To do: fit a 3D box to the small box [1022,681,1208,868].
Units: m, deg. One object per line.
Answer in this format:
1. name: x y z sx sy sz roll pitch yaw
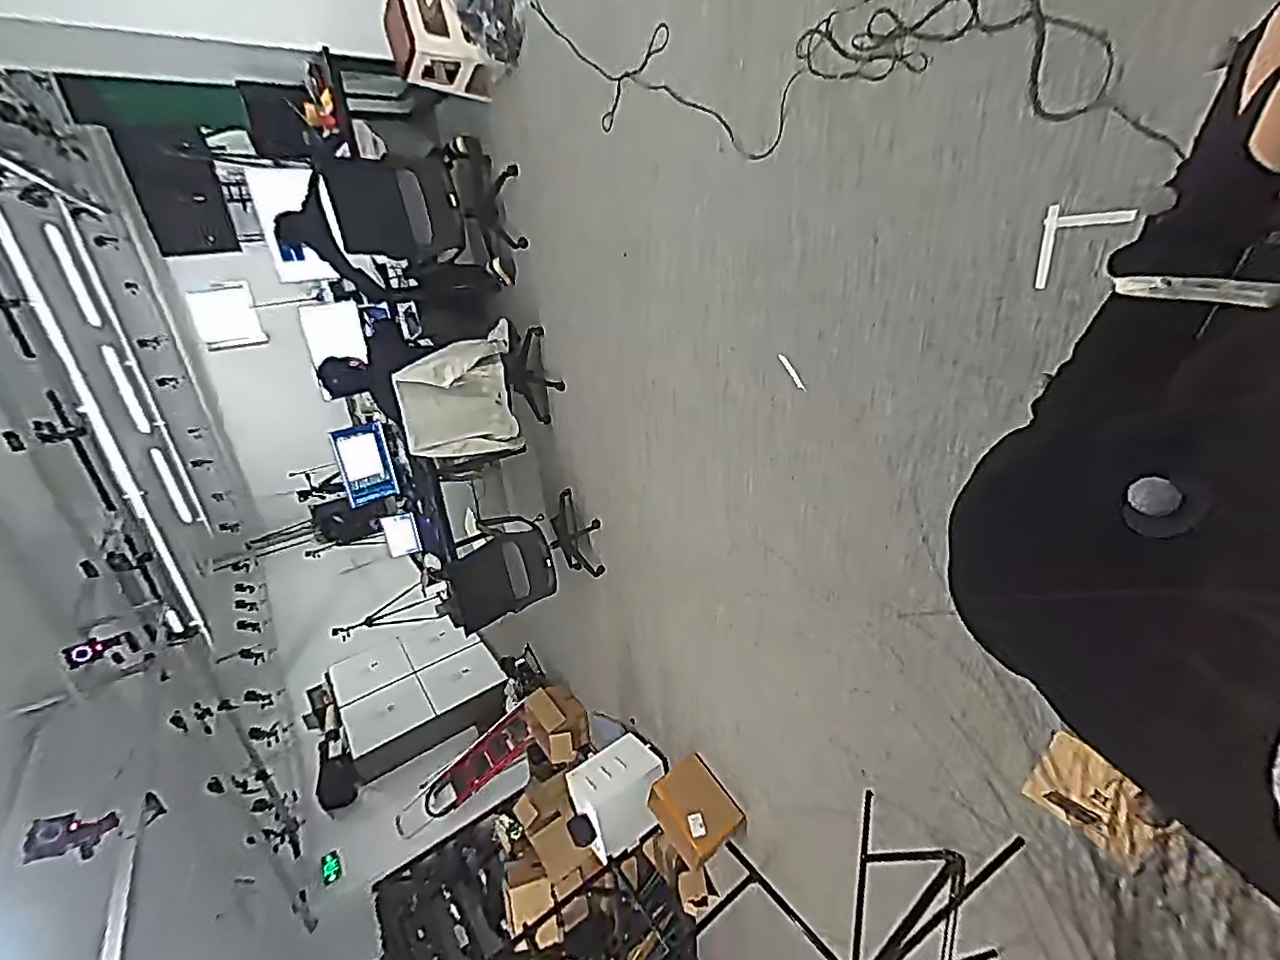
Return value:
1. small box: 0.786 0.478 0.899 0.168 0.176 0.179 33 132 42
